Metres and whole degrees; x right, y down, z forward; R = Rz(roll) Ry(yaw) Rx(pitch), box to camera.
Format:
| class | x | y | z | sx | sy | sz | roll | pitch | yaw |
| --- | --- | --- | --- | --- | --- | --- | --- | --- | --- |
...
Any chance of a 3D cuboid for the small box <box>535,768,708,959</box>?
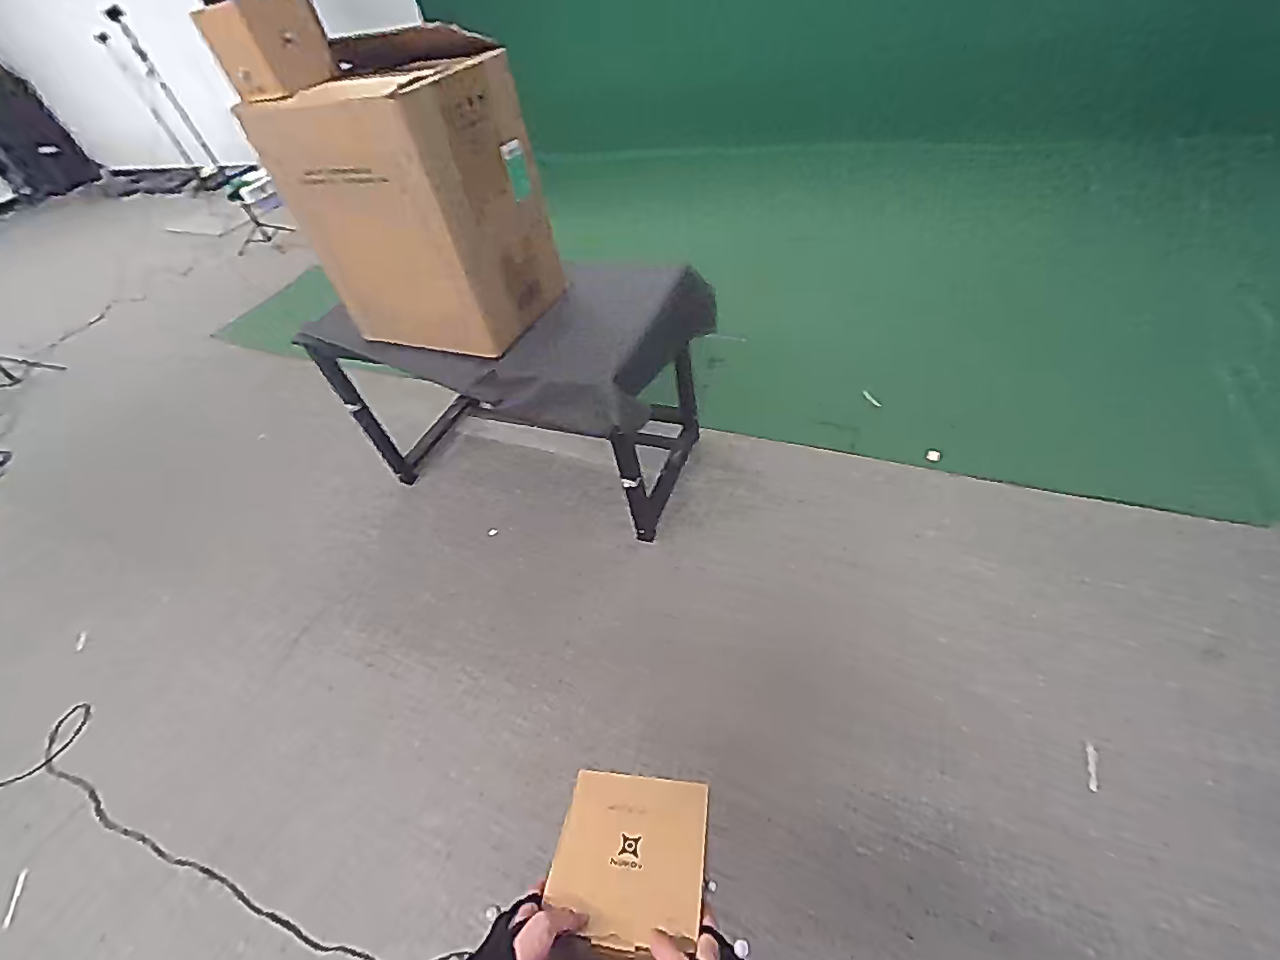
| class | x | y | z | sx | sy | sz | roll | pitch | yaw |
| --- | --- | --- | --- | --- | --- | --- | --- | --- | --- |
| small box | -0.007 | 0.480 | 0.636 | 0.168 | 0.176 | 0.179 | 1 | 25 | 9 |

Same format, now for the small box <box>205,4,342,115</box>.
| class | x | y | z | sx | sy | sz | roll | pitch | yaw |
| --- | --- | --- | --- | --- | --- | --- | --- | --- | --- |
| small box | -0.832 | -0.970 | 1.254 | 0.168 | 0.176 | 0.179 | 12 | 51 | 24 |
